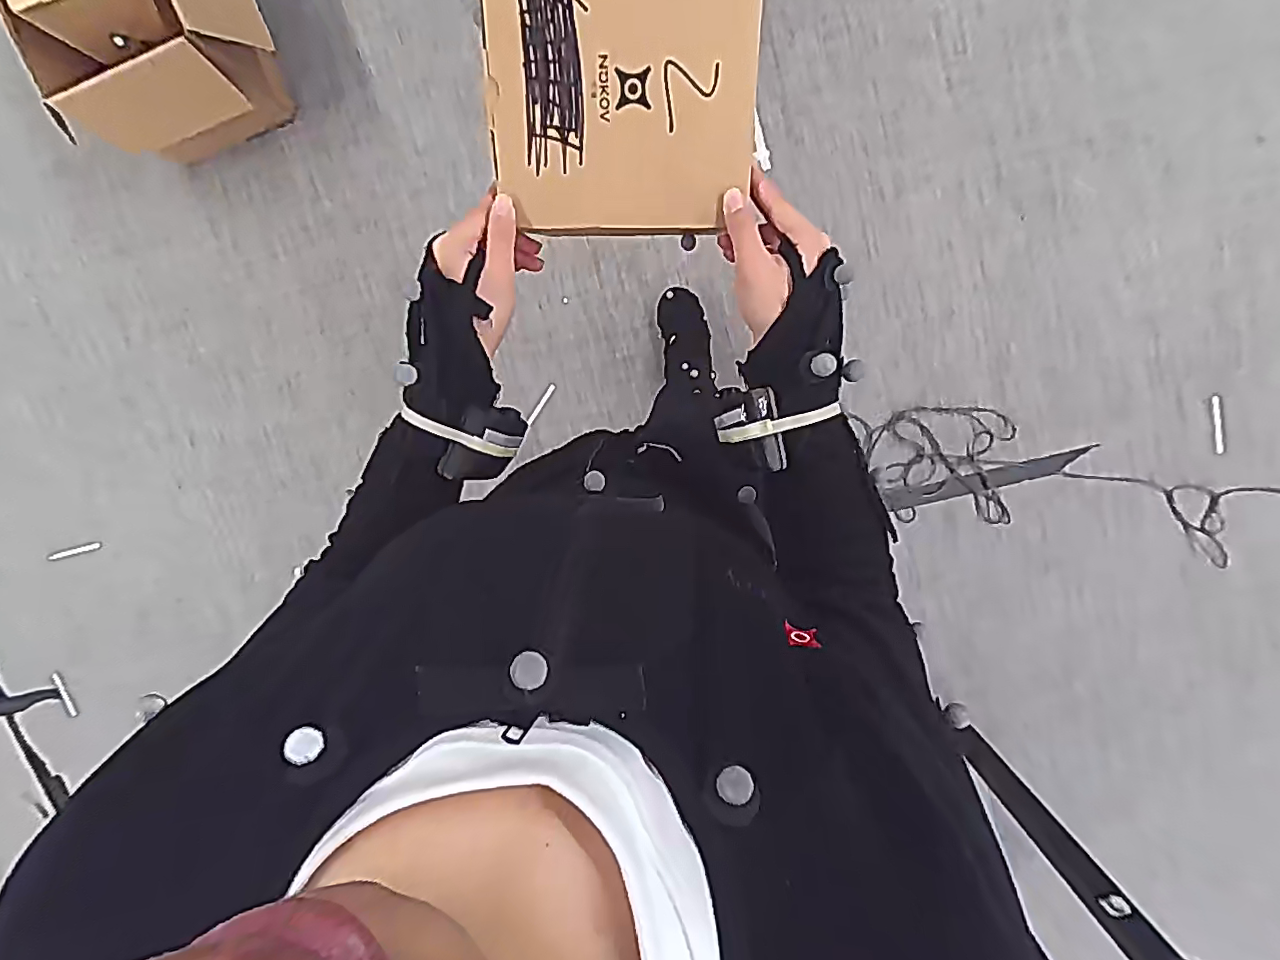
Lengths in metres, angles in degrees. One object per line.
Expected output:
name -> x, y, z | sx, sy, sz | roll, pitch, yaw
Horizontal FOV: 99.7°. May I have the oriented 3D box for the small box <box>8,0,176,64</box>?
small box -> -1.020, -0.922, 0.988 | 0.168, 0.176, 0.179 | -16, 100, 6
